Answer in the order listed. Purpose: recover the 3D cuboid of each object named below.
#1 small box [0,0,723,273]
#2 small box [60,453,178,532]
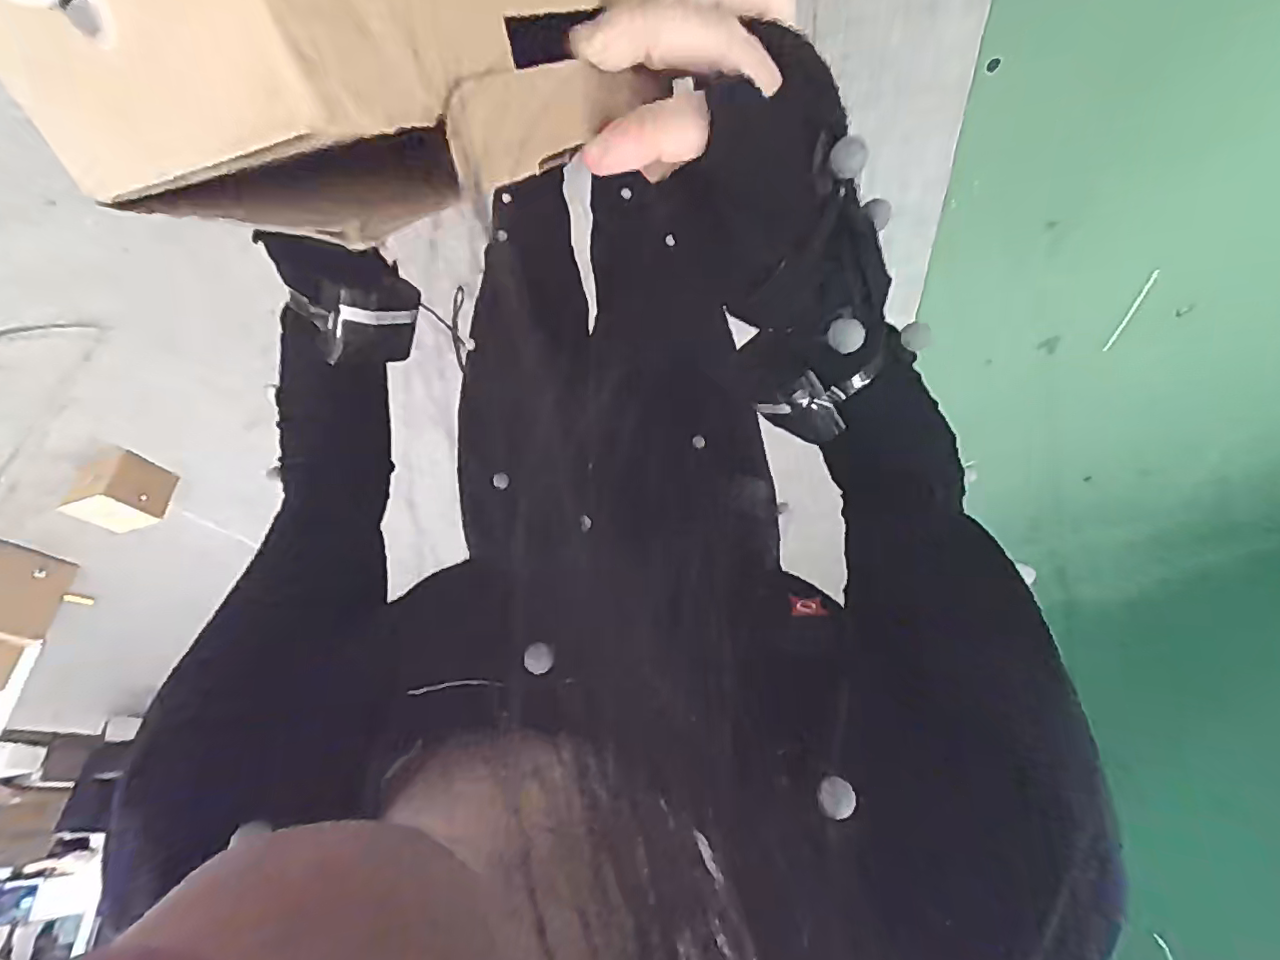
[{"bbox_3d":[-0.098,-0.174,0.154,0.179,0.168,0.176,14,133,34],"label":"small box"},{"bbox_3d":[-1.577,0.033,1.648,0.168,0.176,0.179,-15,148,10],"label":"small box"}]
